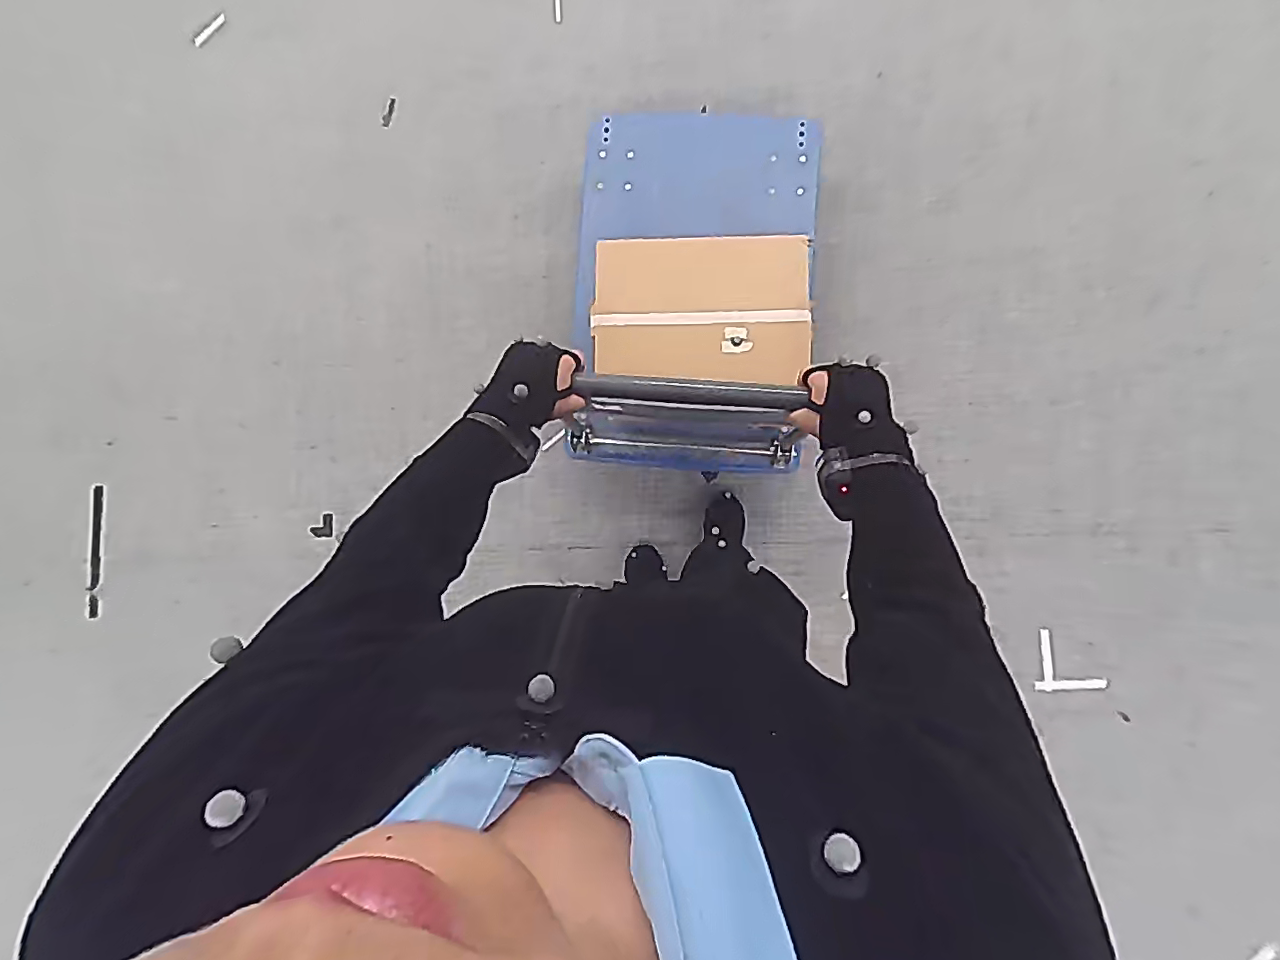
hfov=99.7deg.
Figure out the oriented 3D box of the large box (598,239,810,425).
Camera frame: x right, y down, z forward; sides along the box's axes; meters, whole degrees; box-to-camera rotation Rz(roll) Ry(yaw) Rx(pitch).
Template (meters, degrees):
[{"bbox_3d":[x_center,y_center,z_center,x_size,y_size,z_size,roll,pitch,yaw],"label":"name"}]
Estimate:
[{"bbox_3d":[0.126,-0.297,1.179,0.408,0.320,0.320,0,89,3],"label":"large box"}]
